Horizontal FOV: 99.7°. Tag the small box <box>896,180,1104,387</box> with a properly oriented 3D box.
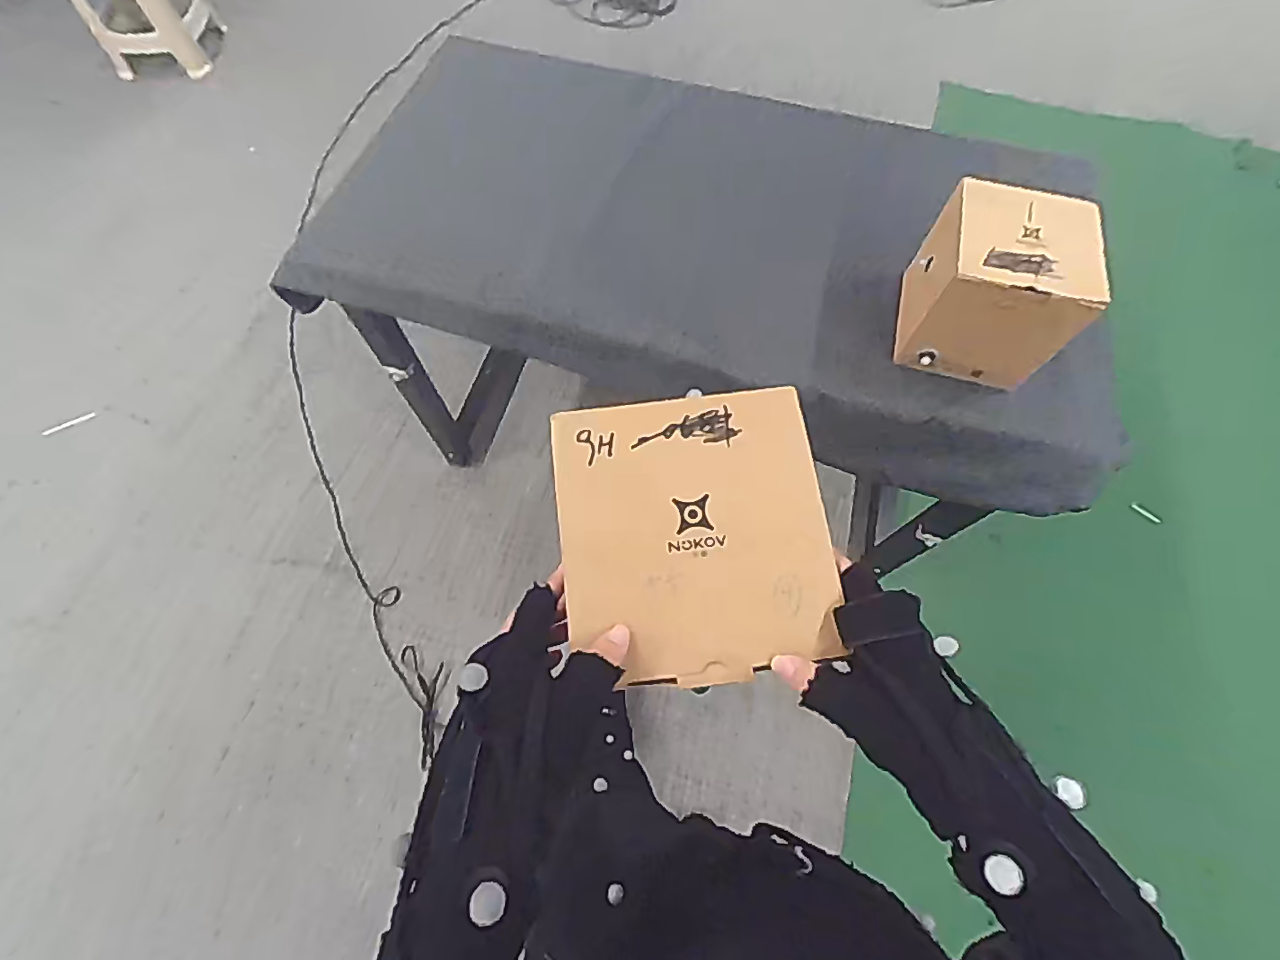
[{"bbox_3d":[0.457,-0.250,0.712,0.168,0.176,0.179,15,65,6],"label":"small box"}]
